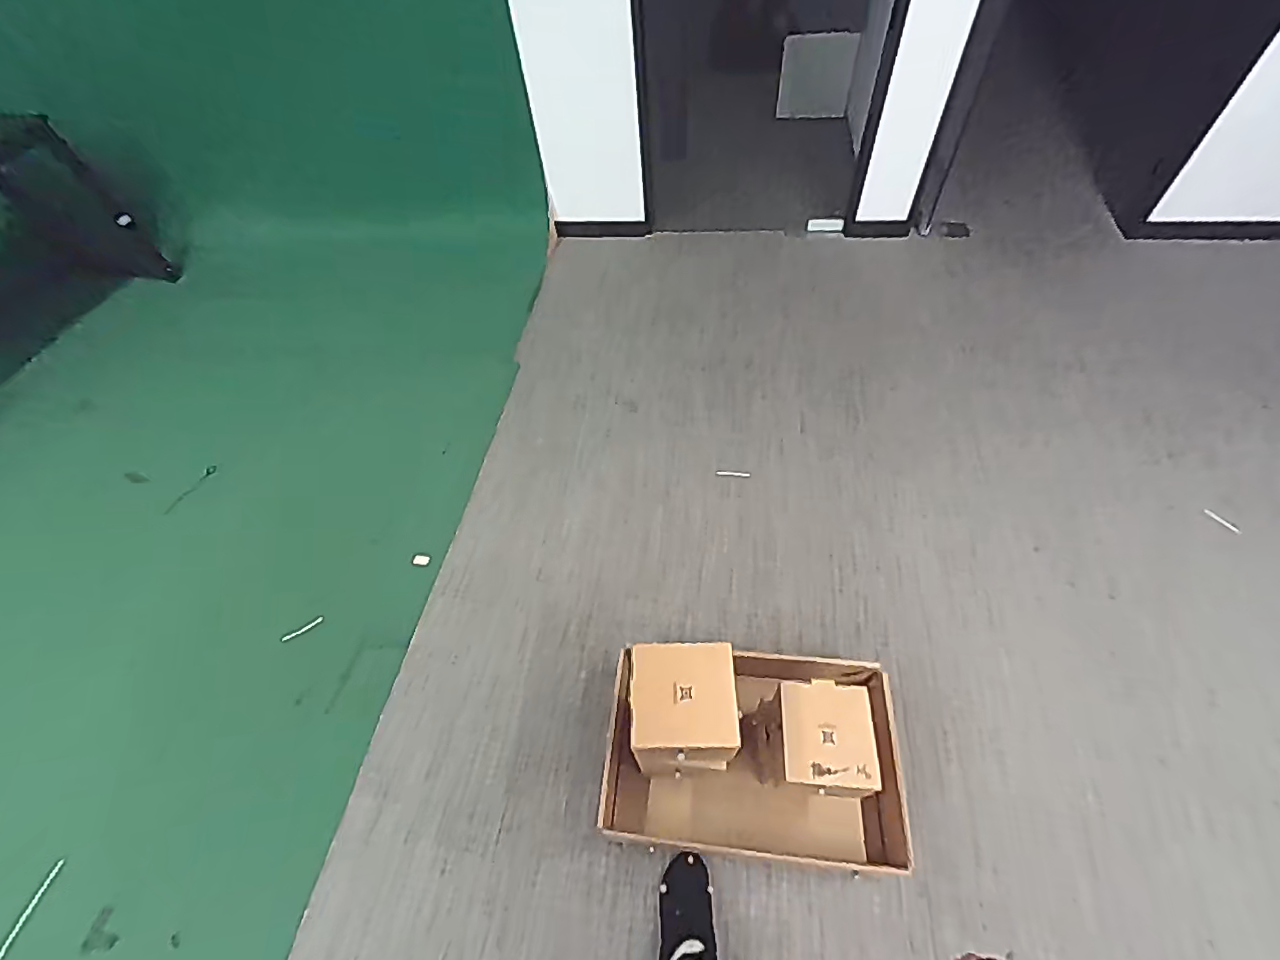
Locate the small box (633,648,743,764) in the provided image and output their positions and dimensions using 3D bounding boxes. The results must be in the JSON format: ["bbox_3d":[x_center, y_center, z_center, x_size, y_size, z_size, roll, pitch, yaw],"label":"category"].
[{"bbox_3d":[0.081,0.404,0.963,0.179,0.176,0.168,-2,56,3],"label":"small box"}]

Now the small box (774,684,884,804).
[{"bbox_3d":[0.357,0.517,1.057,0.168,0.176,0.179,1,54,7],"label":"small box"}]

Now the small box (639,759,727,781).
[{"bbox_3d":[0.094,0.499,1.094,0.168,0.176,0.179,4,56,7],"label":"small box"}]

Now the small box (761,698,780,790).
[{"bbox_3d":[0.366,0.591,1.204,0.179,0.176,0.168,-2,55,5],"label":"small box"}]
